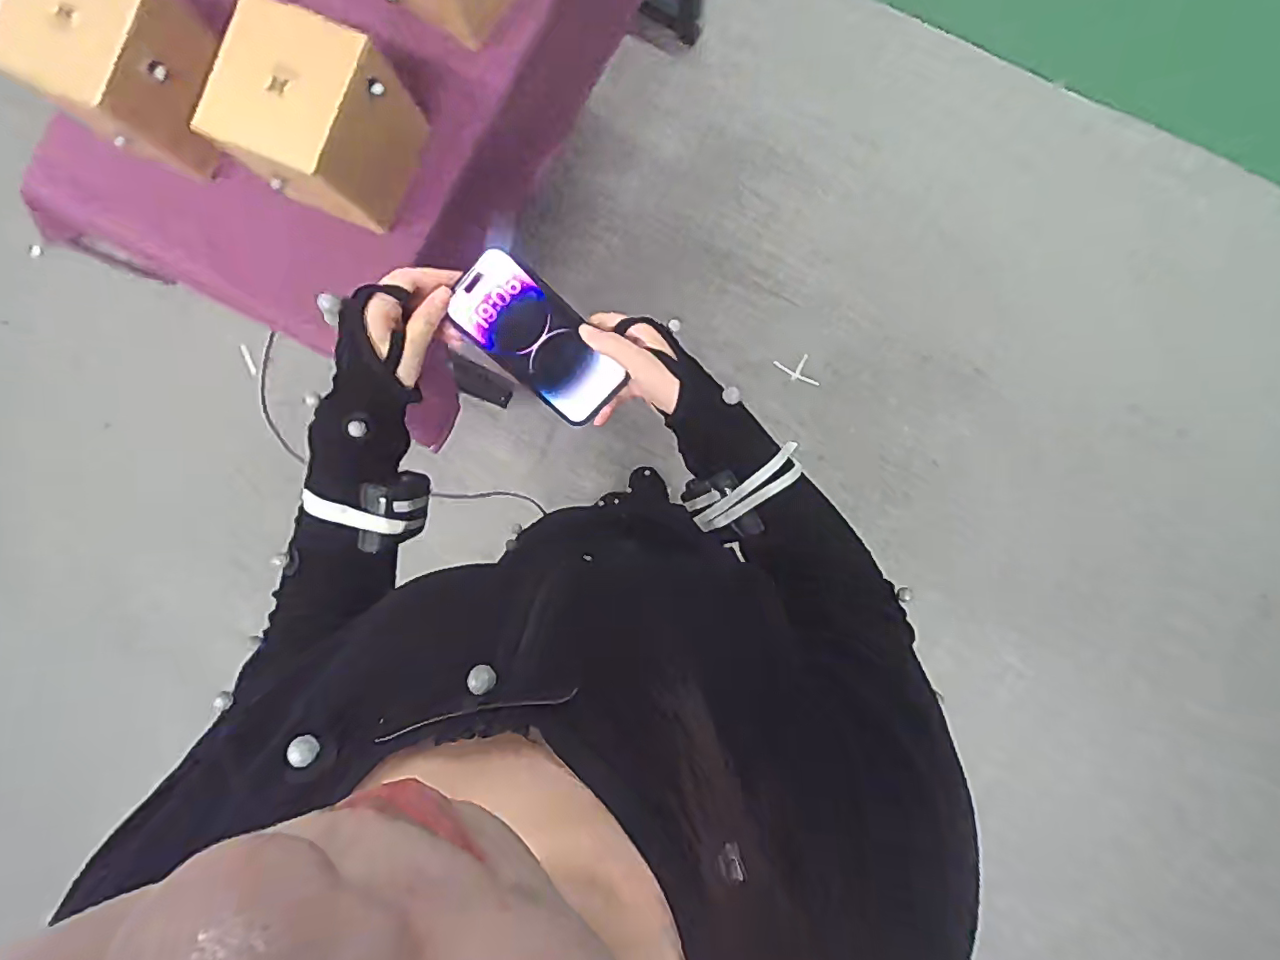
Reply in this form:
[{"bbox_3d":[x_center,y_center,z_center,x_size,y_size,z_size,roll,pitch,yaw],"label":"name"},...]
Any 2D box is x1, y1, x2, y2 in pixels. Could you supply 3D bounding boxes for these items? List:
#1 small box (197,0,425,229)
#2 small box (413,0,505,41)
[{"bbox_3d":[-0.415,-0.469,0.715,0.168,0.176,0.179,22,91,3],"label":"small box"},{"bbox_3d":[-0.256,-0.739,0.702,0.168,0.176,0.179,34,91,2],"label":"small box"}]
